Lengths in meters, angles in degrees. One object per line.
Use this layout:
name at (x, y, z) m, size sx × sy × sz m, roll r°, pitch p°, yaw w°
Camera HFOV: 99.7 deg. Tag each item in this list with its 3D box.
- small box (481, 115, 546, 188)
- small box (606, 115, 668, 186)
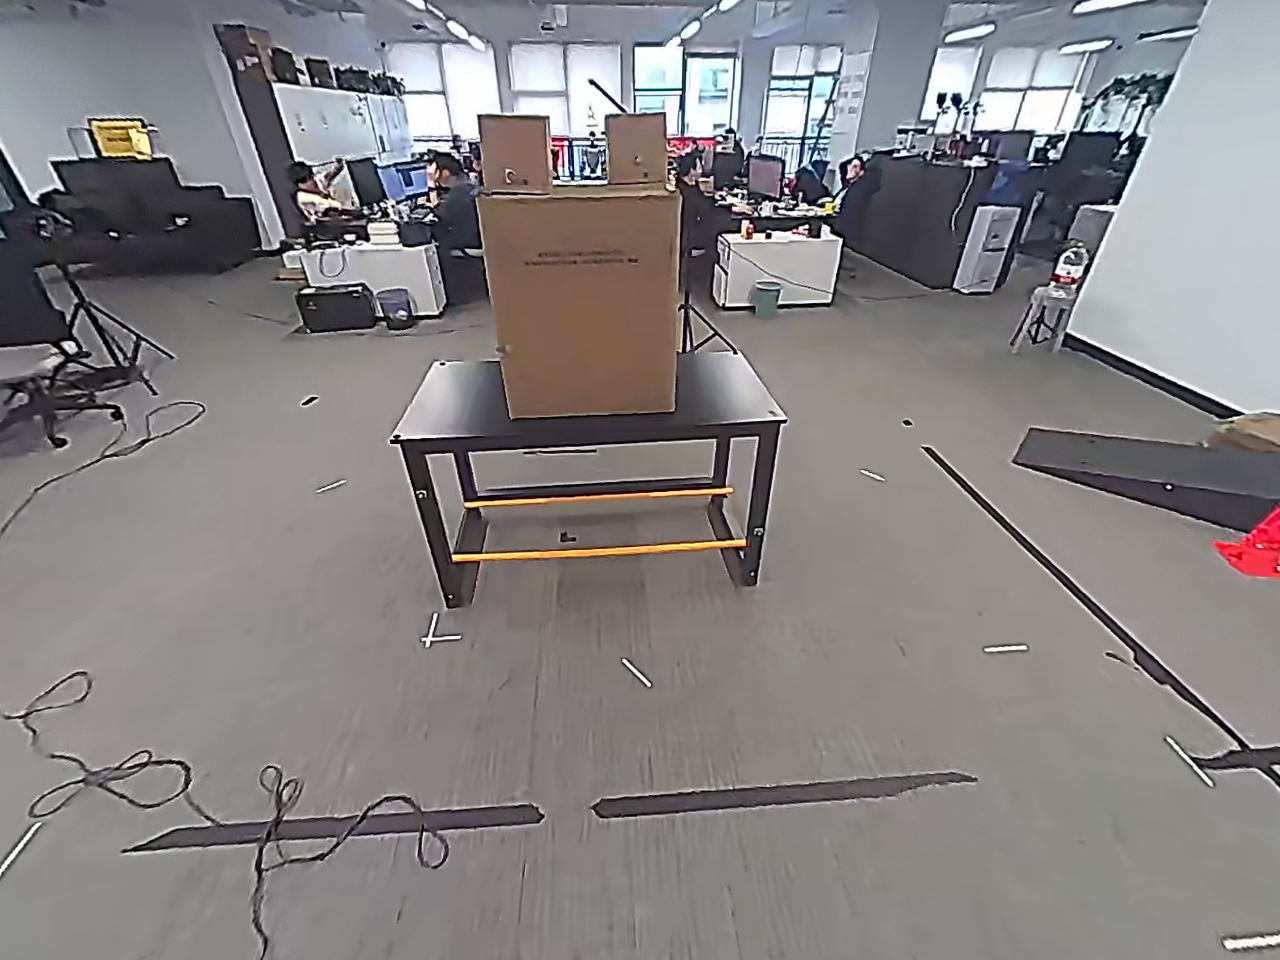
small box at (-0.361, -0.947, 1.561) m, size 0.168 × 0.176 × 0.179 m, roll -5°, pitch 33°, yaw -10°
small box at (-0.011, -0.954, 1.568) m, size 0.168 × 0.176 × 0.179 m, roll -5°, pitch 32°, yaw -4°
